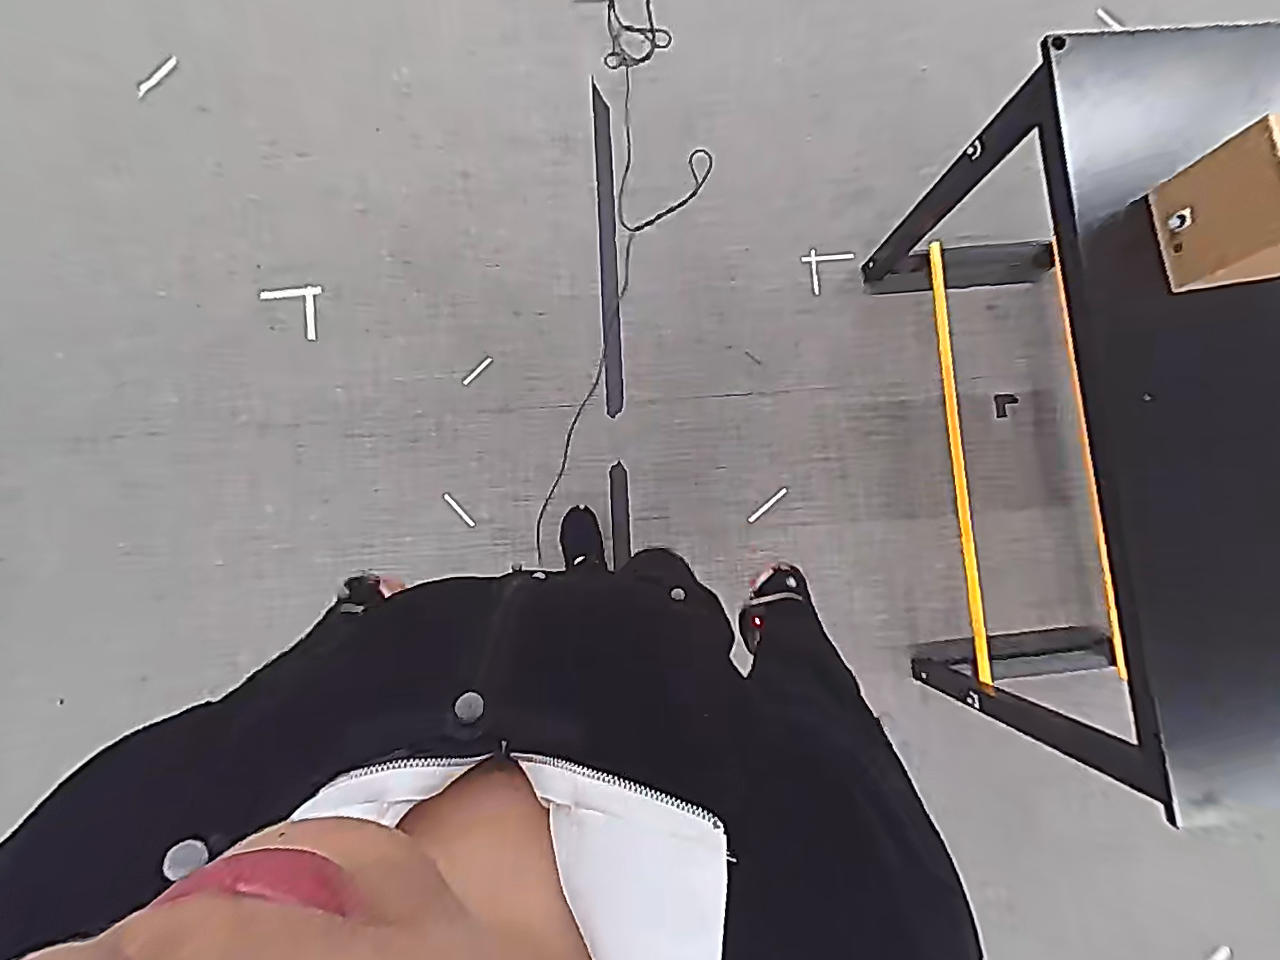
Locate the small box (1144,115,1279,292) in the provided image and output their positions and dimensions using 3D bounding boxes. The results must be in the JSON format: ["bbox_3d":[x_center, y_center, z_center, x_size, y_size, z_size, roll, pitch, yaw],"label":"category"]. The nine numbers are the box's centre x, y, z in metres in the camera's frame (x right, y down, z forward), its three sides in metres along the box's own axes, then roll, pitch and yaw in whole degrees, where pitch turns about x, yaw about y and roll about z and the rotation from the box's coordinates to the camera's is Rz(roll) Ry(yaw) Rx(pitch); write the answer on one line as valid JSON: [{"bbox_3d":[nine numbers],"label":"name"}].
[{"bbox_3d":[0.885,-0.387,0.763,0.179,0.176,0.168,-10,84,-2],"label":"small box"}]
